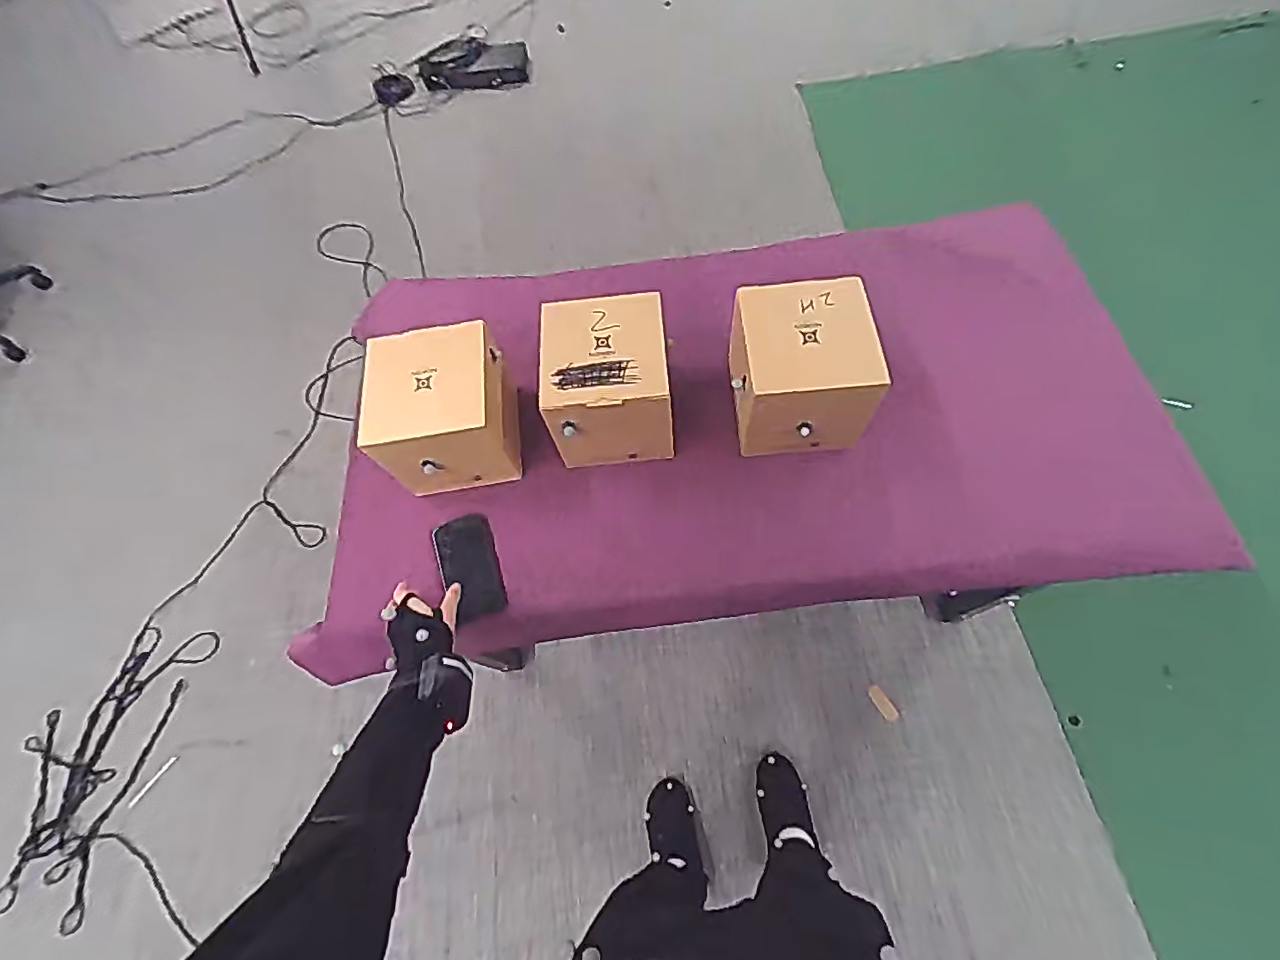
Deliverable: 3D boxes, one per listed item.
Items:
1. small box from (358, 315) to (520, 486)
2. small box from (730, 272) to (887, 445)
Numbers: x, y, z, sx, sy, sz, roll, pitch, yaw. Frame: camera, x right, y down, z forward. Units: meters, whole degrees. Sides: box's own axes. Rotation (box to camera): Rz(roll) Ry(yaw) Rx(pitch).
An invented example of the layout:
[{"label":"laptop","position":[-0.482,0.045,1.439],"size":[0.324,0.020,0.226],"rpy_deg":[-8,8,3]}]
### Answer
[{"label":"small box","position":[-0.276,-0.103,0.778],"size":[0.168,0.176,0.179],"rpy_deg":[-10,64,1]},{"label":"small box","position":[0.221,-0.158,0.758],"size":[0.168,0.176,0.179],"rpy_deg":[-4,65,3]}]
